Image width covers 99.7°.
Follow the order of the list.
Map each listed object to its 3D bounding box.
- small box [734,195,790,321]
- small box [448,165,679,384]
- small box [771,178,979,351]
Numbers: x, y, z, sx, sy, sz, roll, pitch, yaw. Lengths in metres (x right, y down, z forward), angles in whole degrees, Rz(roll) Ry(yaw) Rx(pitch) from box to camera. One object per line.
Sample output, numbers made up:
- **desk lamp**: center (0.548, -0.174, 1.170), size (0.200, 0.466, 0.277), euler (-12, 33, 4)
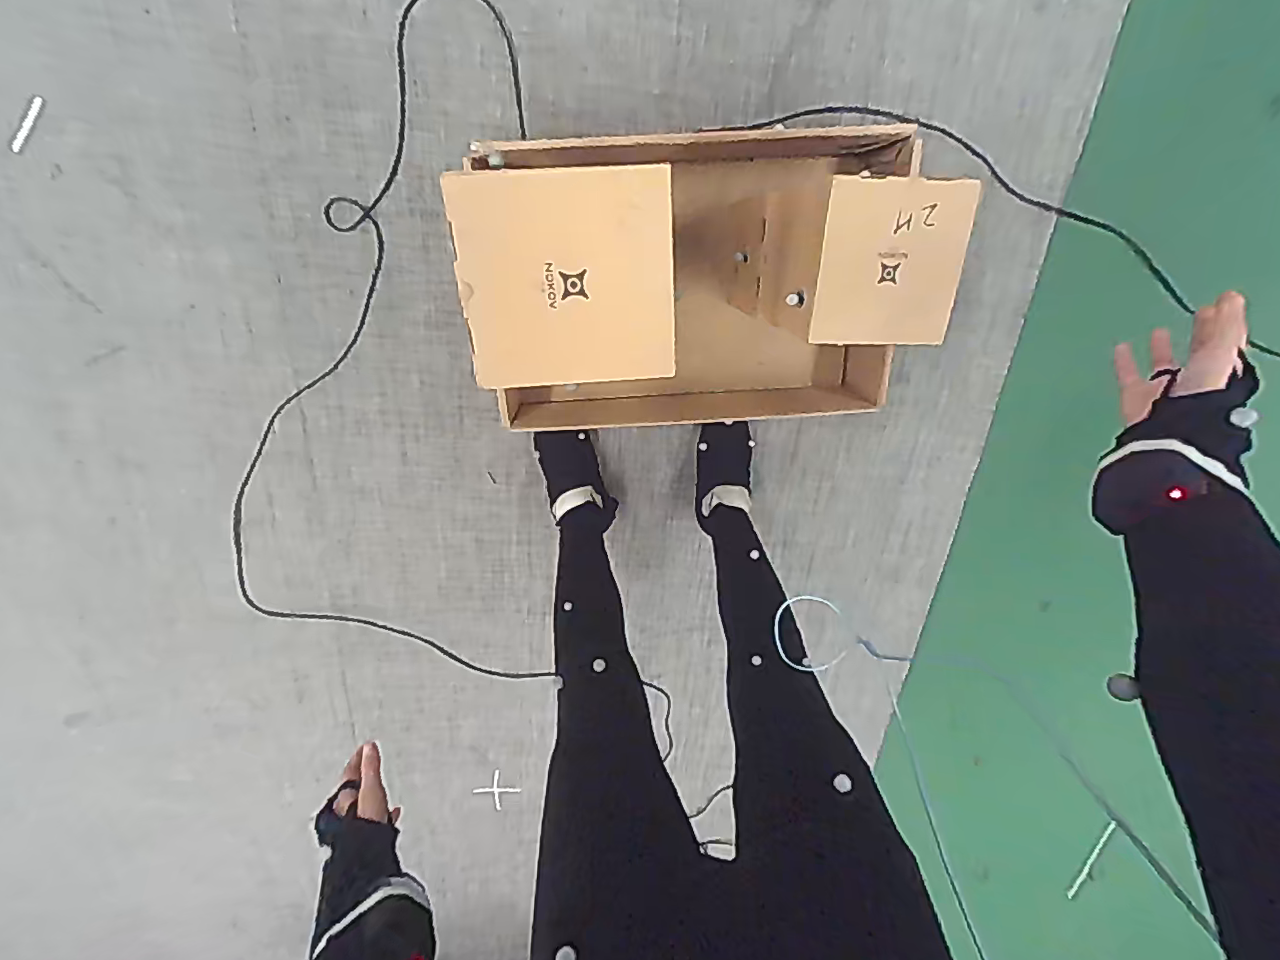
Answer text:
- **small box**: center (0.249, -0.332, 0.827), size (0.179, 0.176, 0.168), euler (1, 113, -3)
- **small box**: center (-0.061, -0.196, 0.511), size (0.179, 0.176, 0.168), euler (-4, 115, -2)
- **small box**: center (0.273, -0.266, 0.677), size (0.168, 0.176, 0.179), euler (0, 112, -5)
